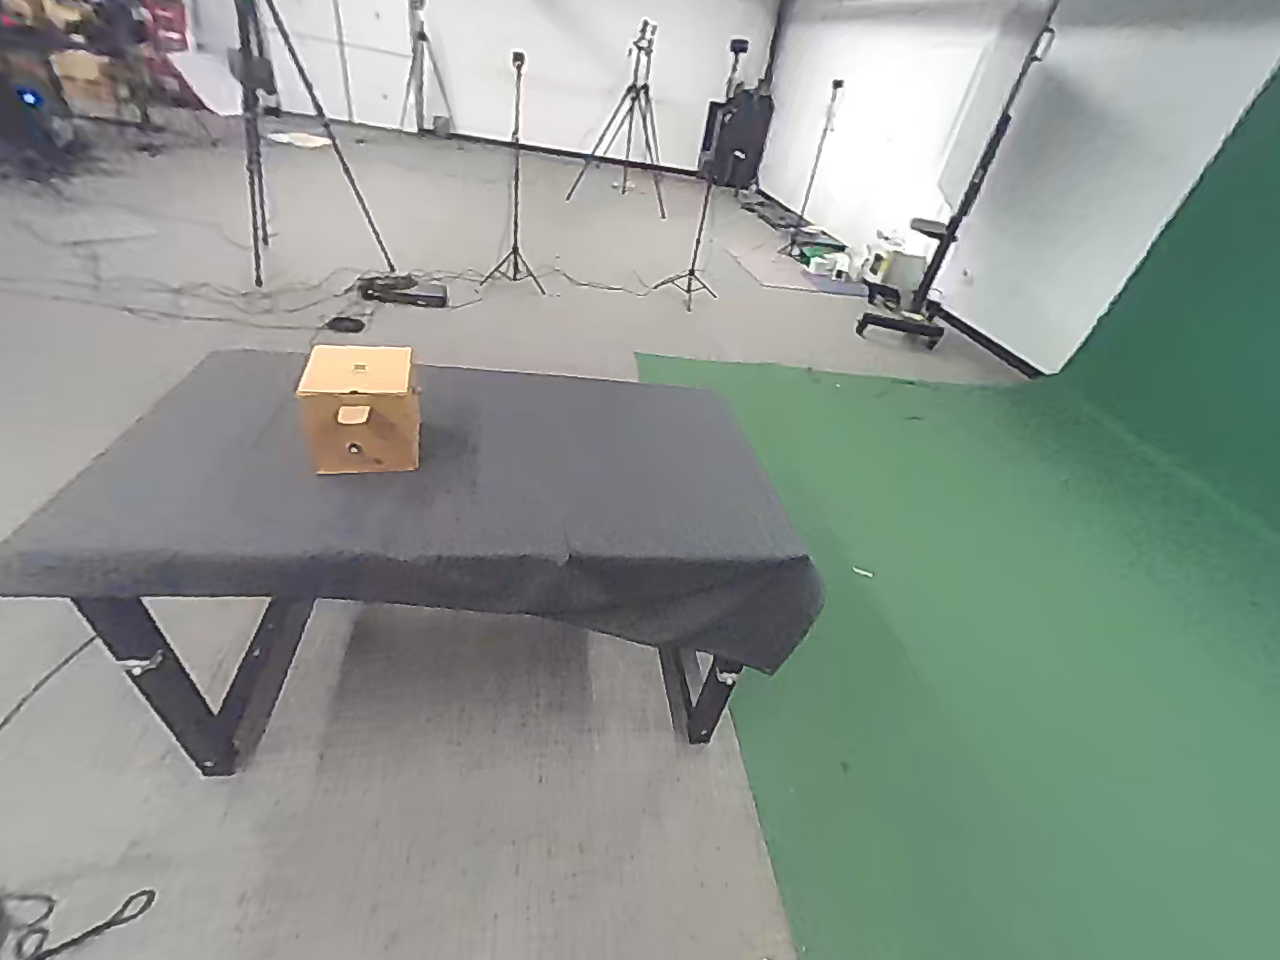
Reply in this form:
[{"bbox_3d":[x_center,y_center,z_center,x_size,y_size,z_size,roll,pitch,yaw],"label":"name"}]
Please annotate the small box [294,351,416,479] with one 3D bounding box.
[{"bbox_3d":[-0.507,-0.119,0.986,0.168,0.176,0.179,-3,39,-19],"label":"small box"}]
